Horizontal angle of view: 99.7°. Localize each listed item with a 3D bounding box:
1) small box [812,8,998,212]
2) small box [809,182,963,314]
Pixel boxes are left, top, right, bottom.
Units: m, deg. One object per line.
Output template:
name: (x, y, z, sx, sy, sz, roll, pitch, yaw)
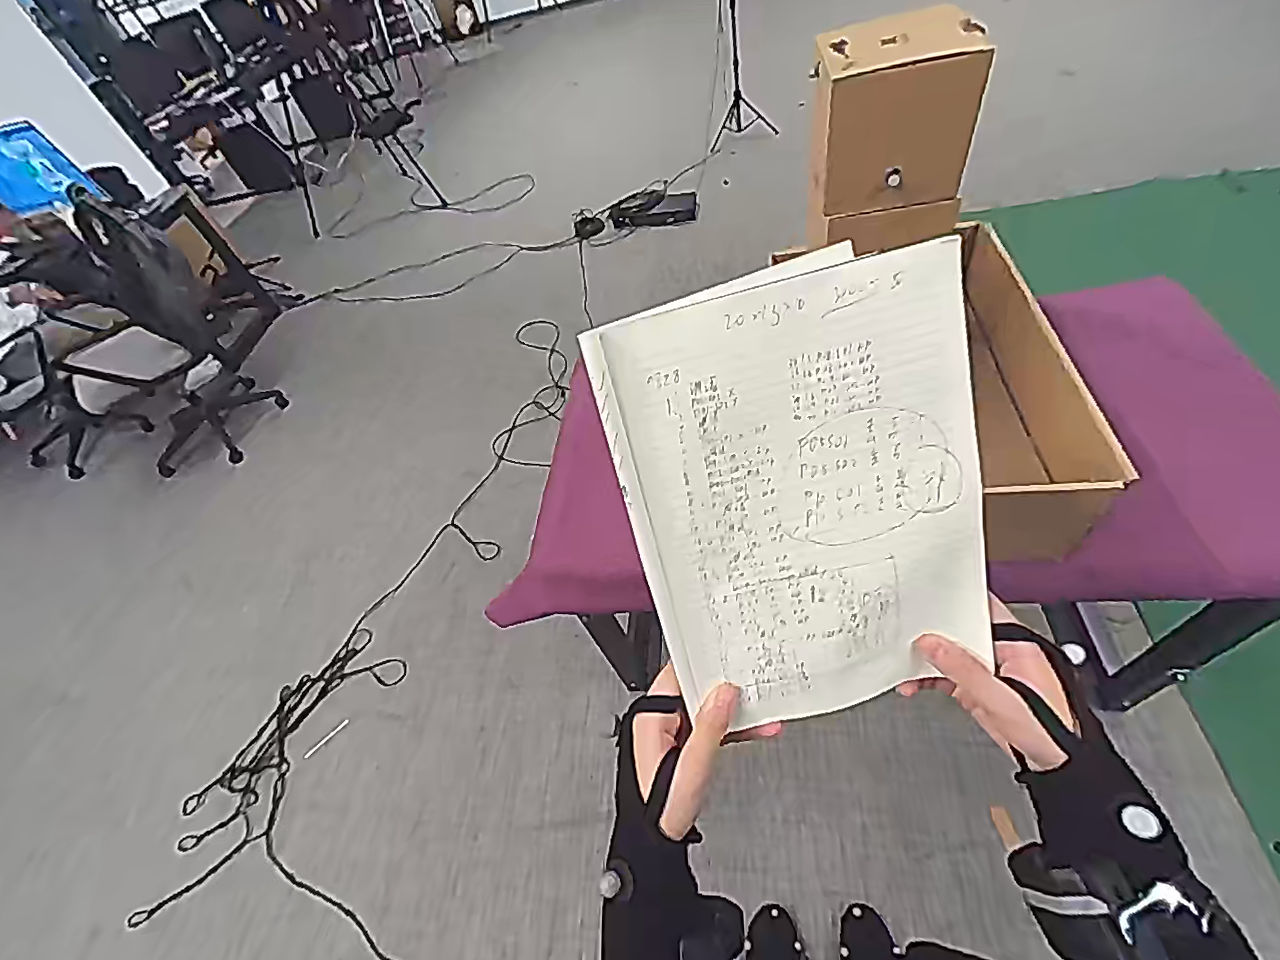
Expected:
small box: (0.334, -0.486, 0.723, 0.179, 0.176, 0.168, -2, 52, 11)
small box: (0.368, -0.385, 0.848, 0.179, 0.176, 0.168, -5, 52, 11)
